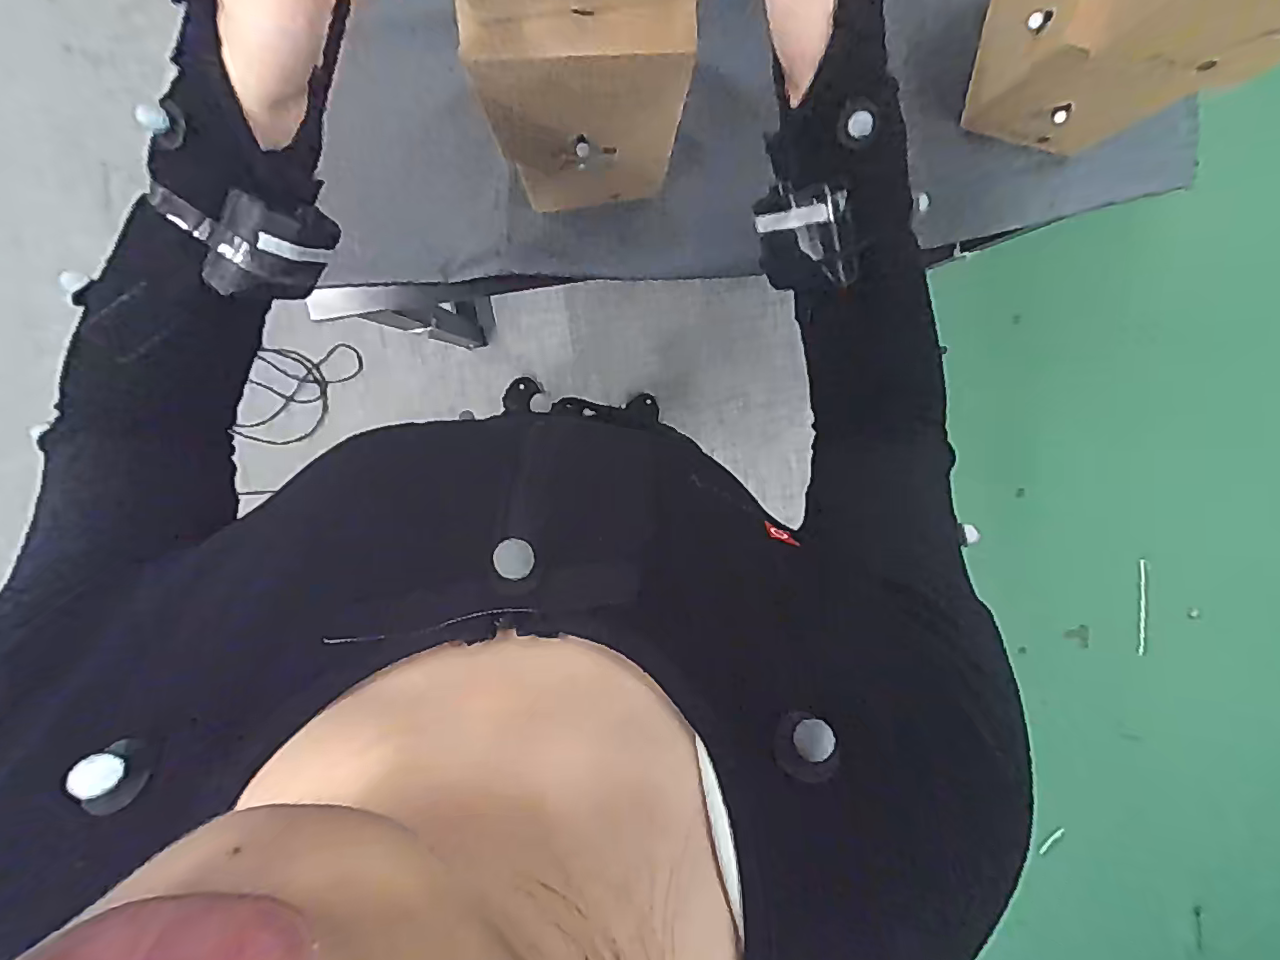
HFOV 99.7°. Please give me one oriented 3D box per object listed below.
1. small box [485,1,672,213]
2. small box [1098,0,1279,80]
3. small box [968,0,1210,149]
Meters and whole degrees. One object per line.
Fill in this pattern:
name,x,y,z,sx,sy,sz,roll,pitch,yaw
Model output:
small box,-0.065,-0.423,0.597,0.168,0.176,0.179,-9,99,-2
small box,0.539,-0.480,0.451,0.168,0.176,0.179,6,97,-5
small box,0.511,-0.511,0.609,0.168,0.176,0.179,11,96,-5
